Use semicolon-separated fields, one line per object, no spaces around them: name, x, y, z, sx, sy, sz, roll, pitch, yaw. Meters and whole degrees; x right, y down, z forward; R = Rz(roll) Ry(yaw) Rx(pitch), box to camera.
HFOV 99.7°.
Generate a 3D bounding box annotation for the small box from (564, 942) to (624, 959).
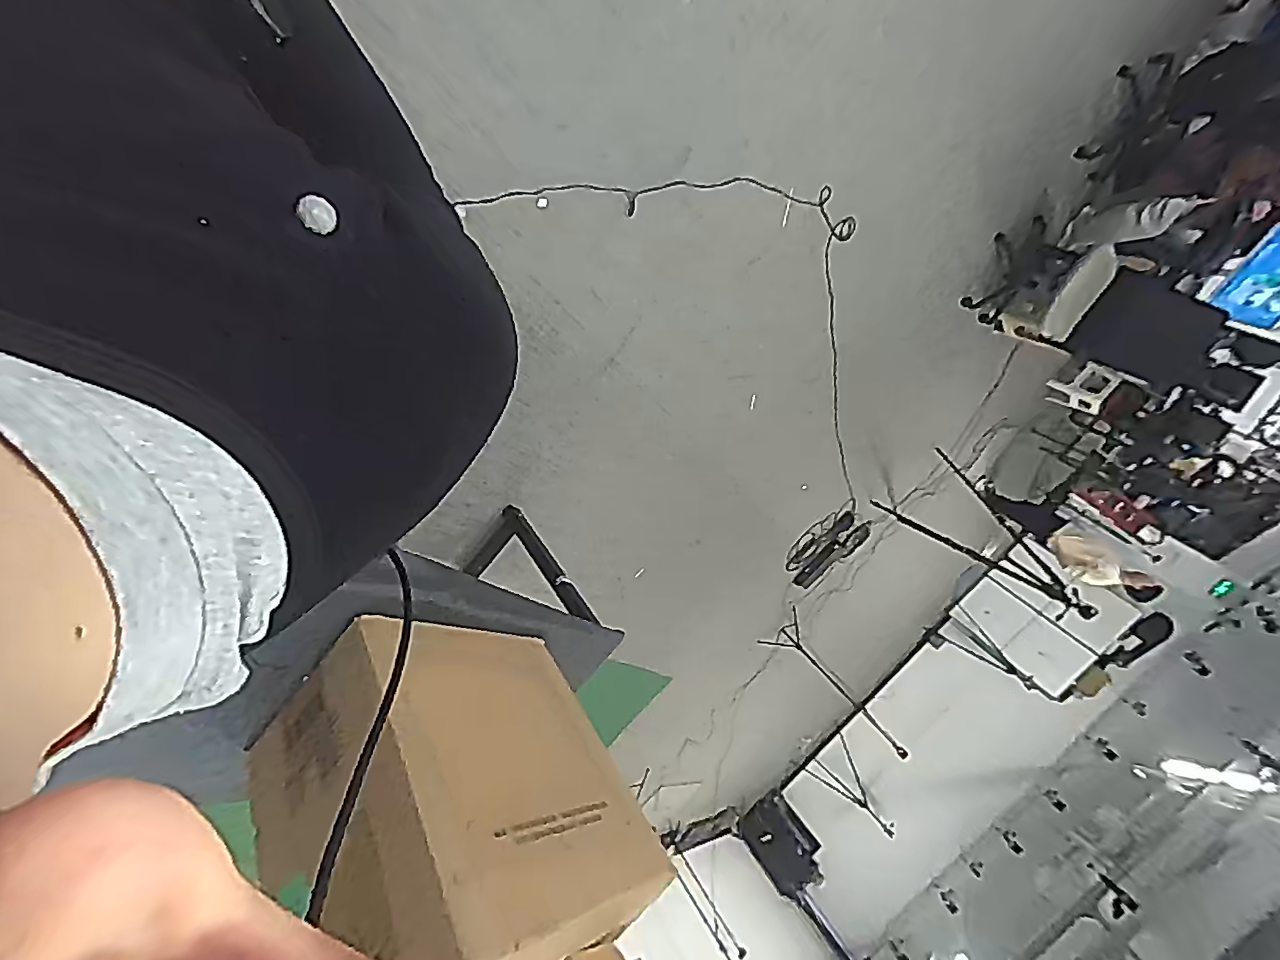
small box;-0.084;0.914;0.893;0.168;0.176;0.179;-50;141;-11
